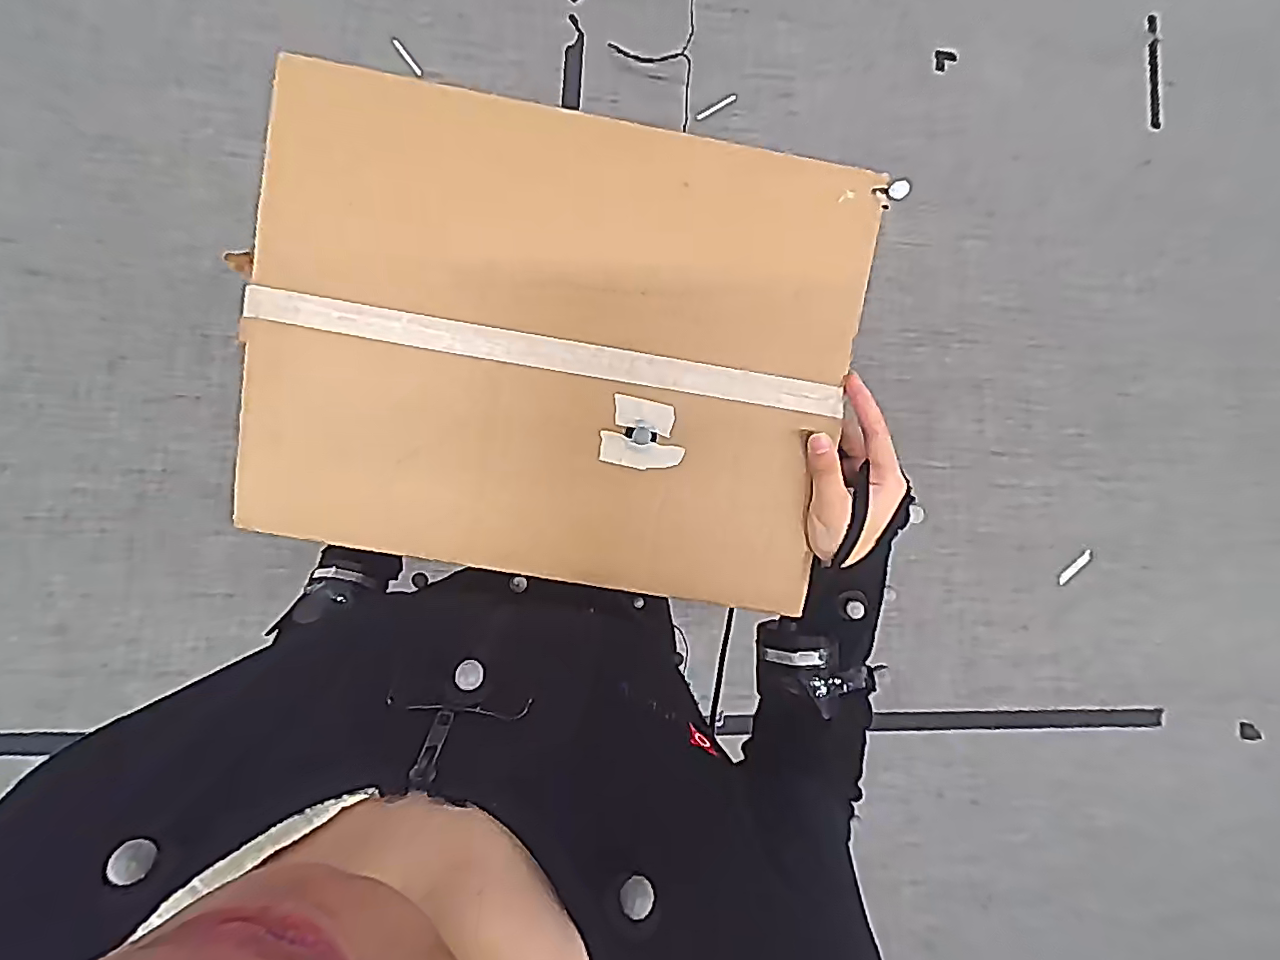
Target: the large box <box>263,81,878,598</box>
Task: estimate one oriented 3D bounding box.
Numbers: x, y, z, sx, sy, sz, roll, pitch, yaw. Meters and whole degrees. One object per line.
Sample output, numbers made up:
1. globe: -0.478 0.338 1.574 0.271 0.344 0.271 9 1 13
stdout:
1. large box: -0.059 -0.101 0.527 0.408 0.320 0.320 9 96 -4
